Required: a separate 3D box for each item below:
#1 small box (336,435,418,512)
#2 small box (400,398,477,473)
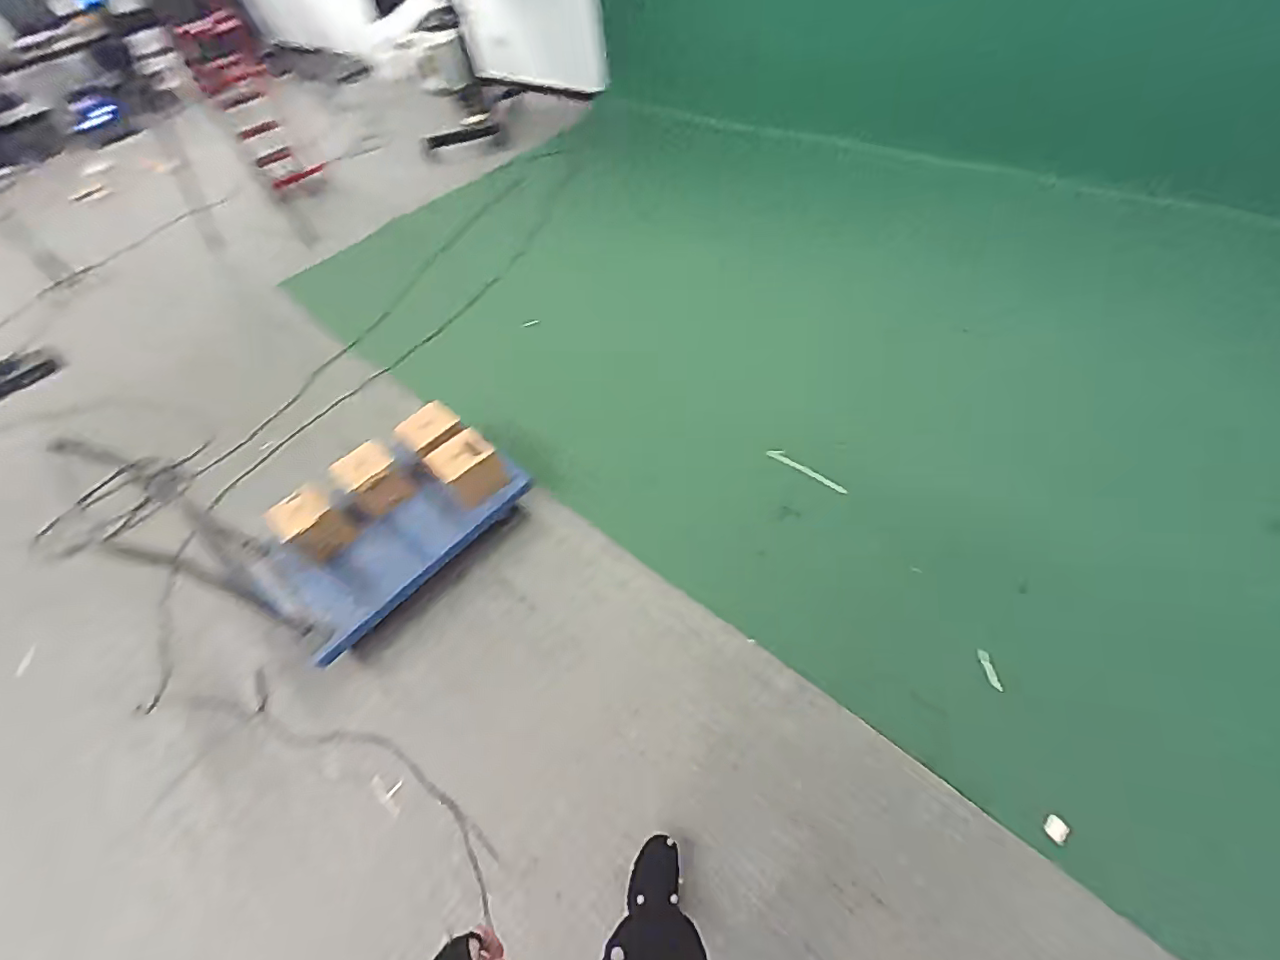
[{"bbox_3d":[-0.915,-0.020,1.891,0.168,0.176,0.179,-40,57,-20],"label":"small box"},{"bbox_3d":[-0.727,-0.158,1.969,0.168,0.176,0.179,36,65,29],"label":"small box"}]
